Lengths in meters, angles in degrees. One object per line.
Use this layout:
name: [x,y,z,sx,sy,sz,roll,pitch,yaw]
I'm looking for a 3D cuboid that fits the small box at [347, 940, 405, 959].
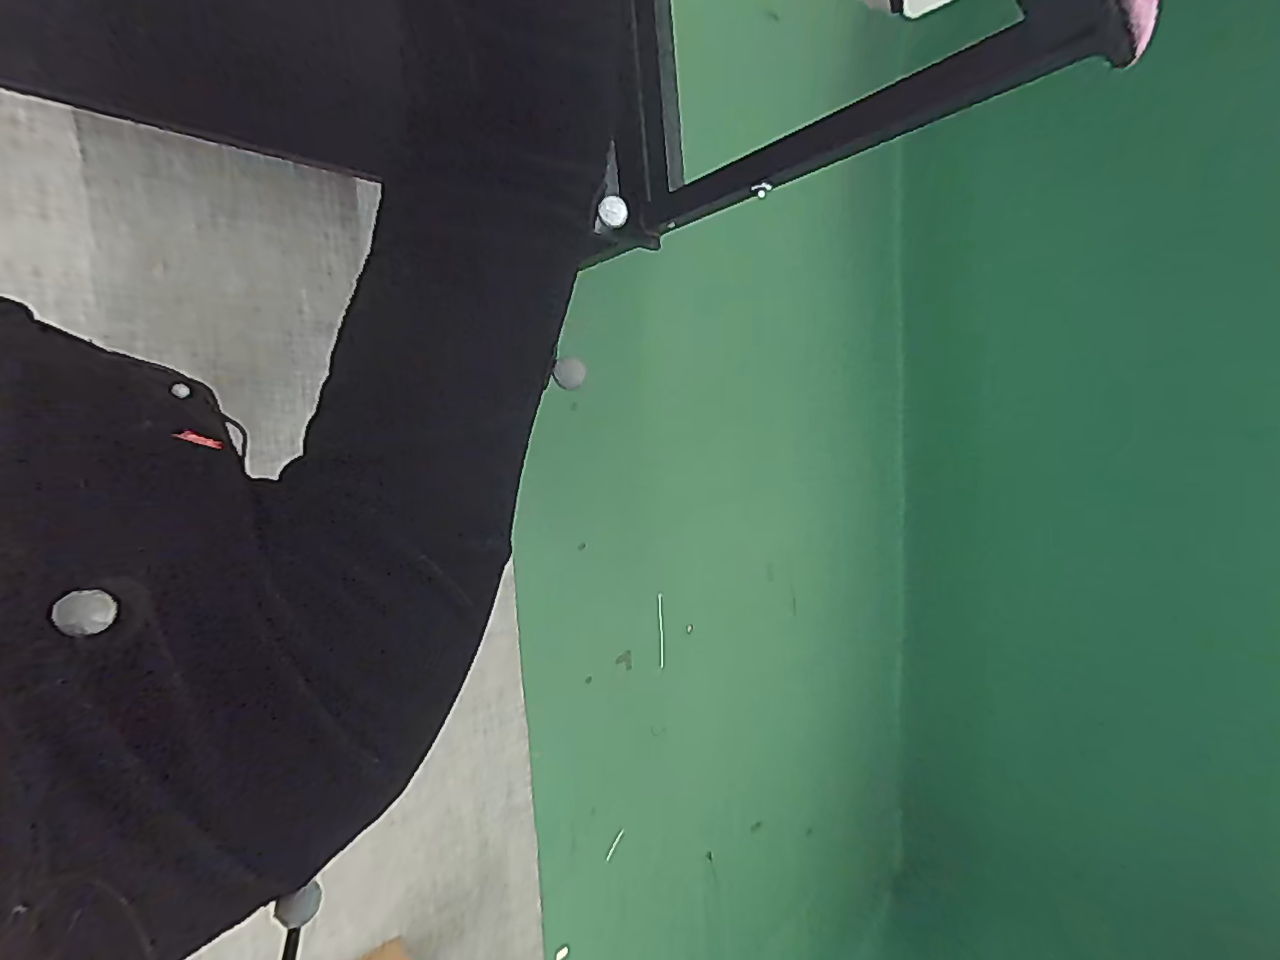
small box: [-0.707,1.365,1.413,0.168,0.176,0.179,-2,93,-44]
